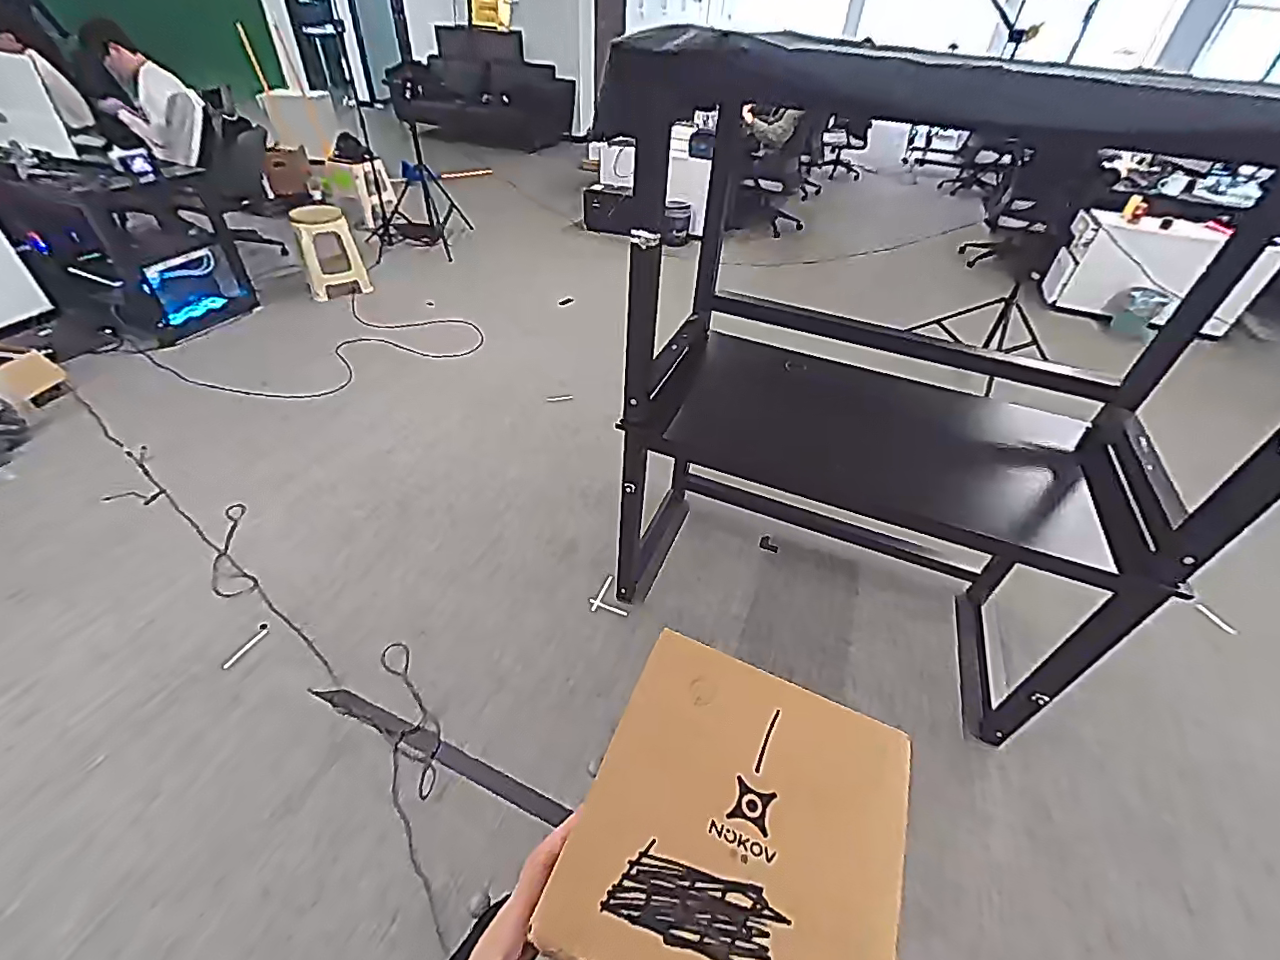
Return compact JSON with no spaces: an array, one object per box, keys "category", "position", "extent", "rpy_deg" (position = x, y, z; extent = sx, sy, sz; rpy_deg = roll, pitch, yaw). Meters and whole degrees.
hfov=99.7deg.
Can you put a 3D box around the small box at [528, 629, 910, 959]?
[{"category":"small box","position":[0.049,0.238,0.348],"extent":[0.168,0.176,0.179],"rpy_deg":[21,47,13]}]
